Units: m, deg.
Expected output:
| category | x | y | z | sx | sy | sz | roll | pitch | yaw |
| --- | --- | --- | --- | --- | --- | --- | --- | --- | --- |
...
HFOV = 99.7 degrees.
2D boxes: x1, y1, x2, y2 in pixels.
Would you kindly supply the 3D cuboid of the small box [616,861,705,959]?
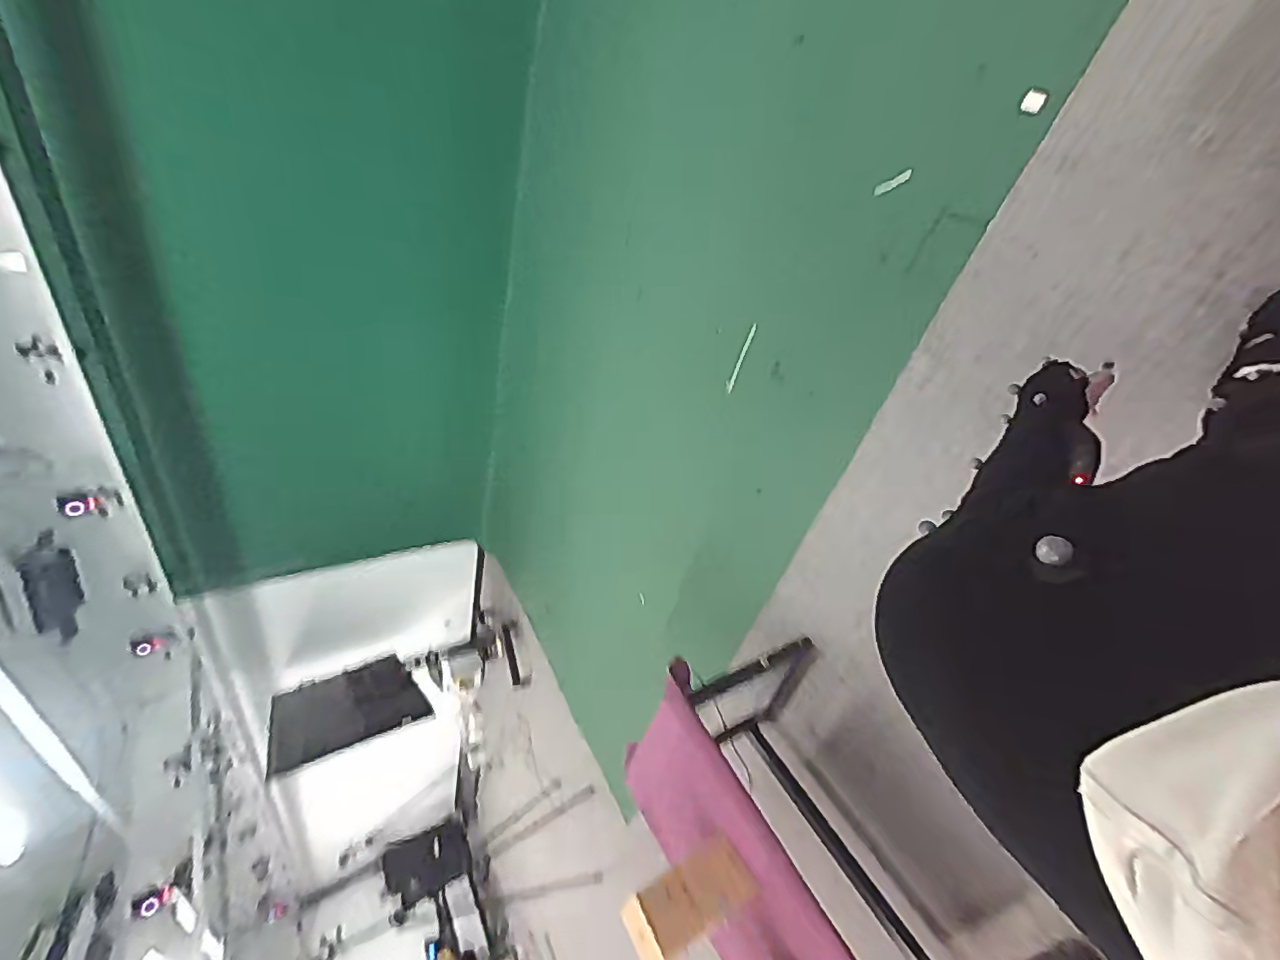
| category | x | y | z | sx | sy | sz | roll | pitch | yaw |
| --- | --- | --- | --- | --- | --- | --- | --- | --- | --- |
| small box | 0.059 | 1.218 | 1.516 | 0.168 | 0.176 | 0.179 | 50 | 138 | 37 |
